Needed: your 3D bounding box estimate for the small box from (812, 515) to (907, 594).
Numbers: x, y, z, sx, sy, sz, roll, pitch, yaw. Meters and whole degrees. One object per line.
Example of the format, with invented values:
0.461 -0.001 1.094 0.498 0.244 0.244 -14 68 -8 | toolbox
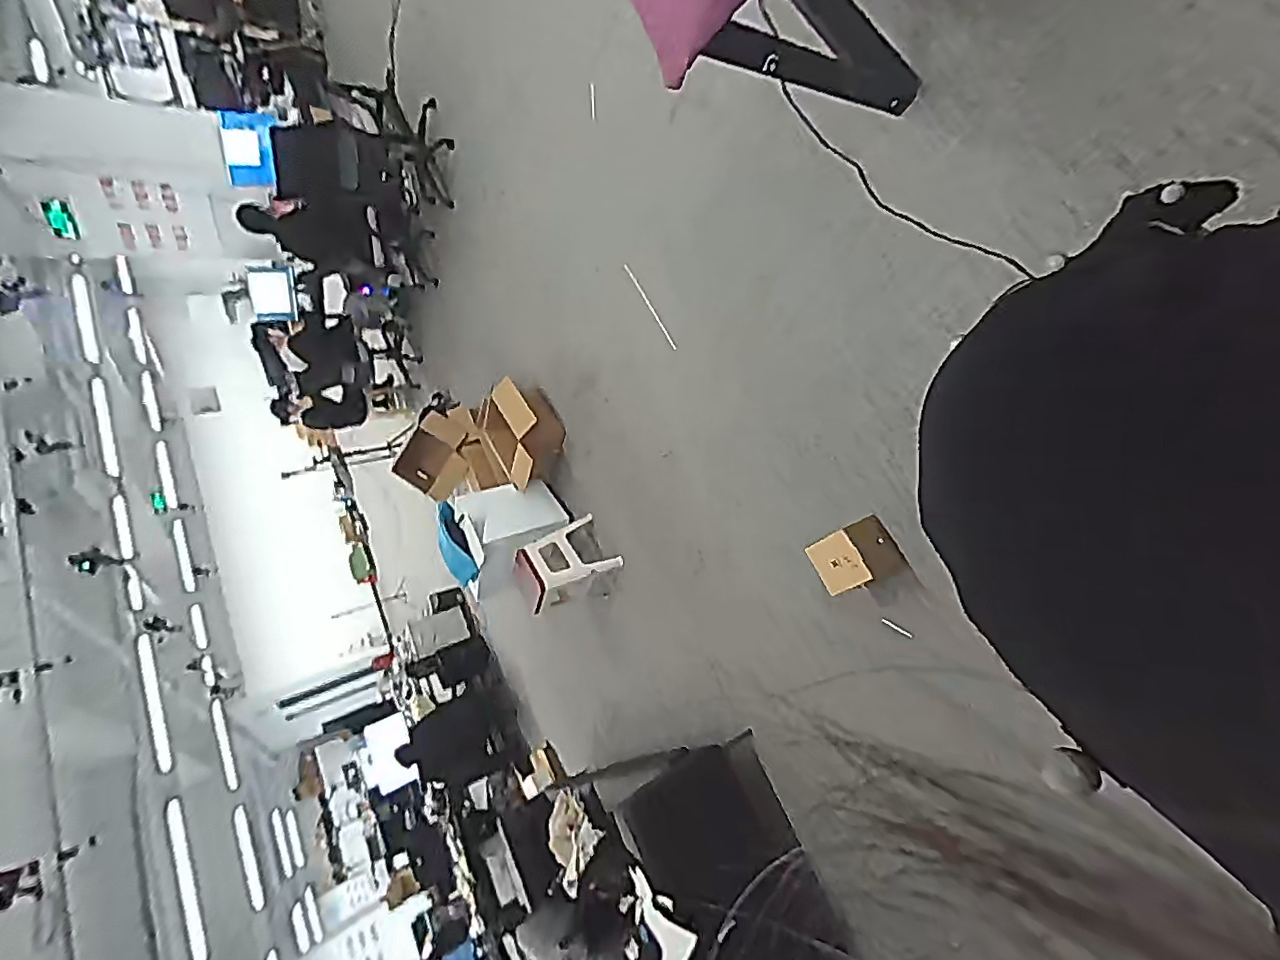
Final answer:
0.678 0.230 1.672 0.168 0.176 0.179 63 144 16 | small box
